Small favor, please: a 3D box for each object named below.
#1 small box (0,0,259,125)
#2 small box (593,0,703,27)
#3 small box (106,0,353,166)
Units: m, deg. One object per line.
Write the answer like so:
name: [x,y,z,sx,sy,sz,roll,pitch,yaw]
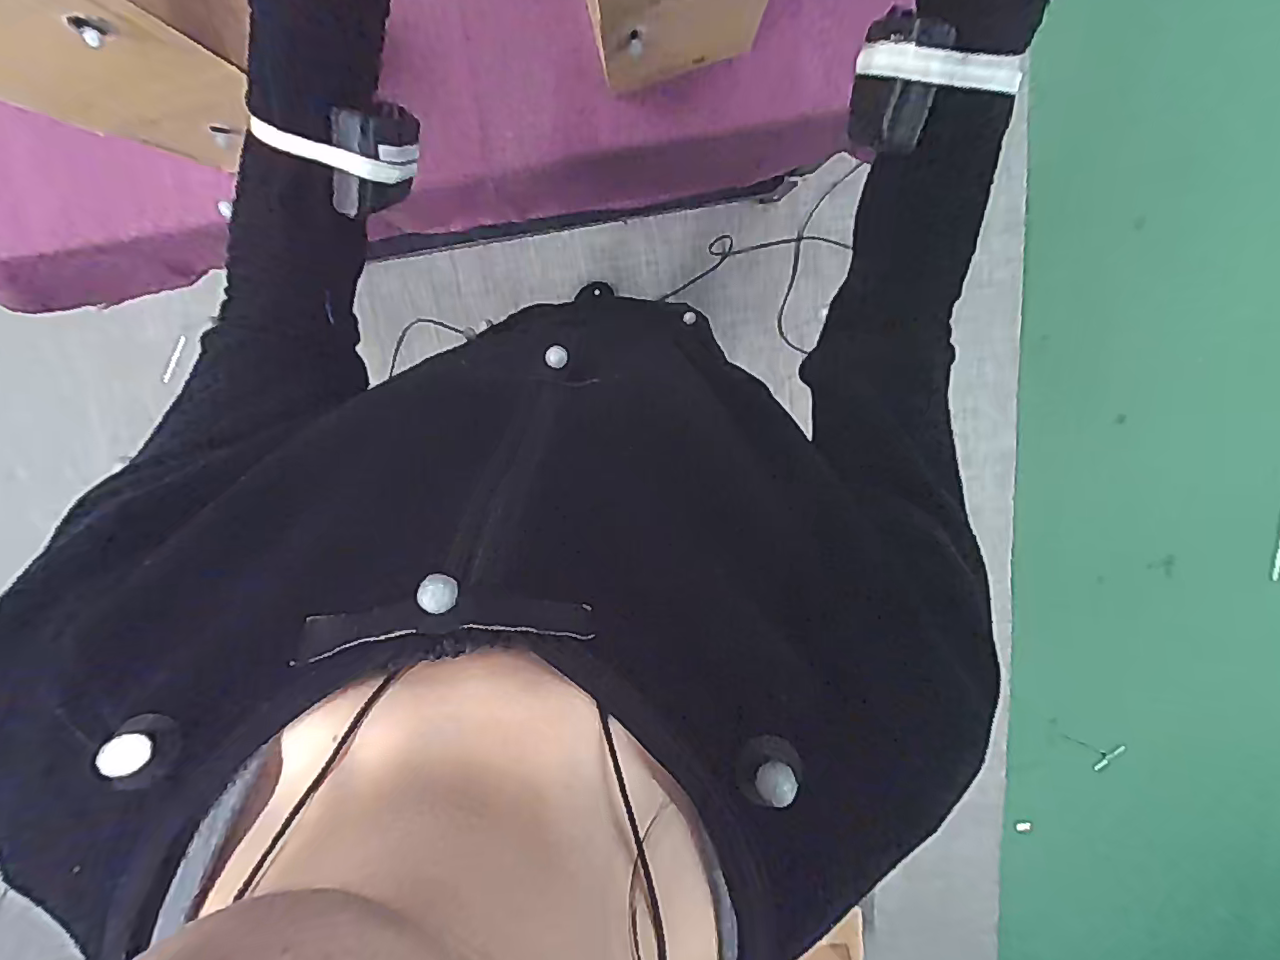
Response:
small box: [-0.436,-0.390,0.392,0.179,0.176,0.168,-11,106,3]
small box: [0.020,-0.469,0.366,0.168,0.176,0.179,-14,105,5]
small box: [-0.436,-0.442,0.547,0.179,0.176,0.168,-11,107,3]
